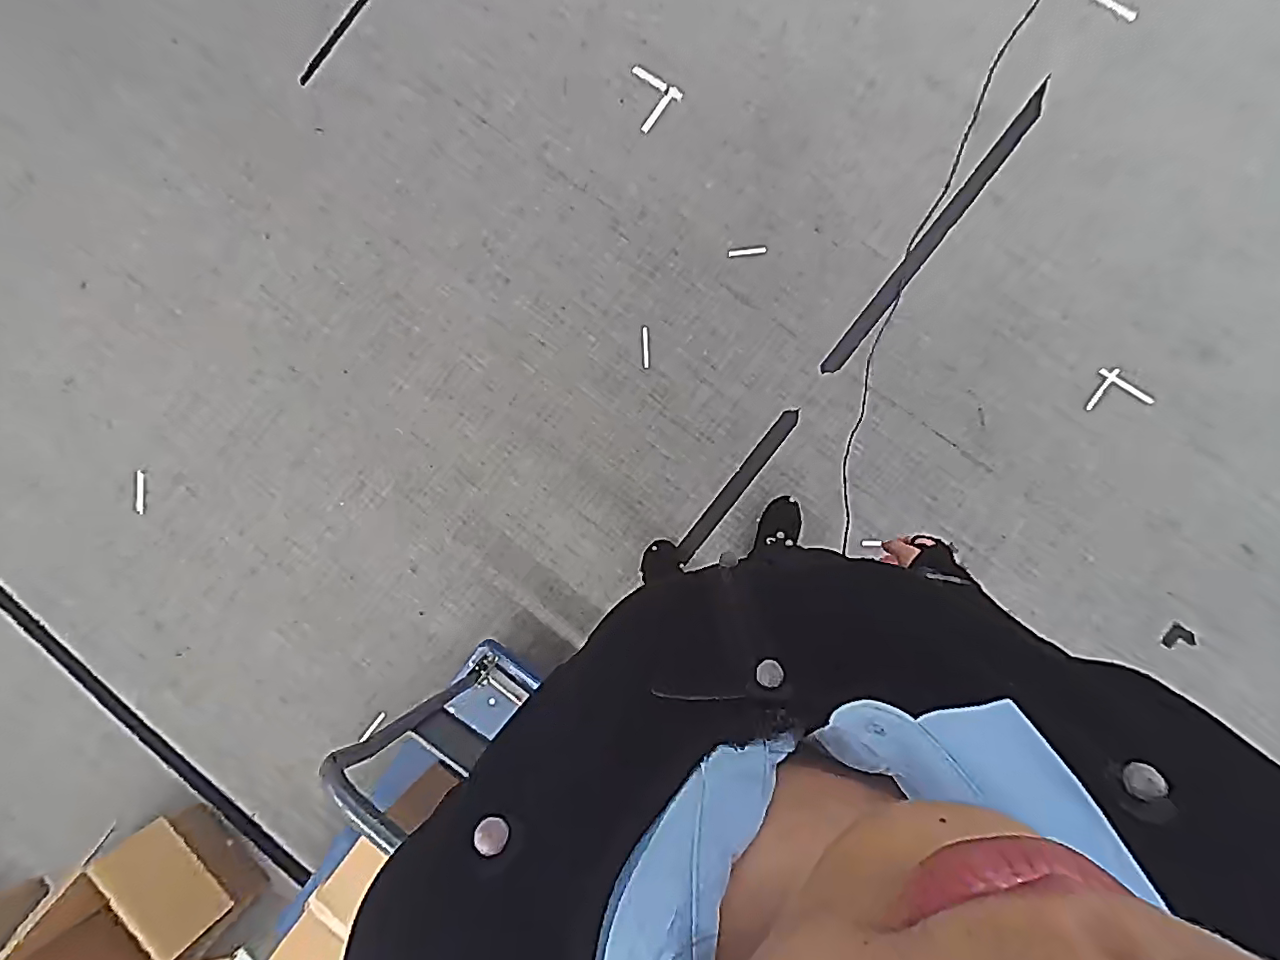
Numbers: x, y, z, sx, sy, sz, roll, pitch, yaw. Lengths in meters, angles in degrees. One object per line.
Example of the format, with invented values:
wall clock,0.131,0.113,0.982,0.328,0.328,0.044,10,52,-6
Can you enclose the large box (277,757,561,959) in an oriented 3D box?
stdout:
large box,-0.442,0.902,1.168,0.408,0.320,0.320,37,90,5
